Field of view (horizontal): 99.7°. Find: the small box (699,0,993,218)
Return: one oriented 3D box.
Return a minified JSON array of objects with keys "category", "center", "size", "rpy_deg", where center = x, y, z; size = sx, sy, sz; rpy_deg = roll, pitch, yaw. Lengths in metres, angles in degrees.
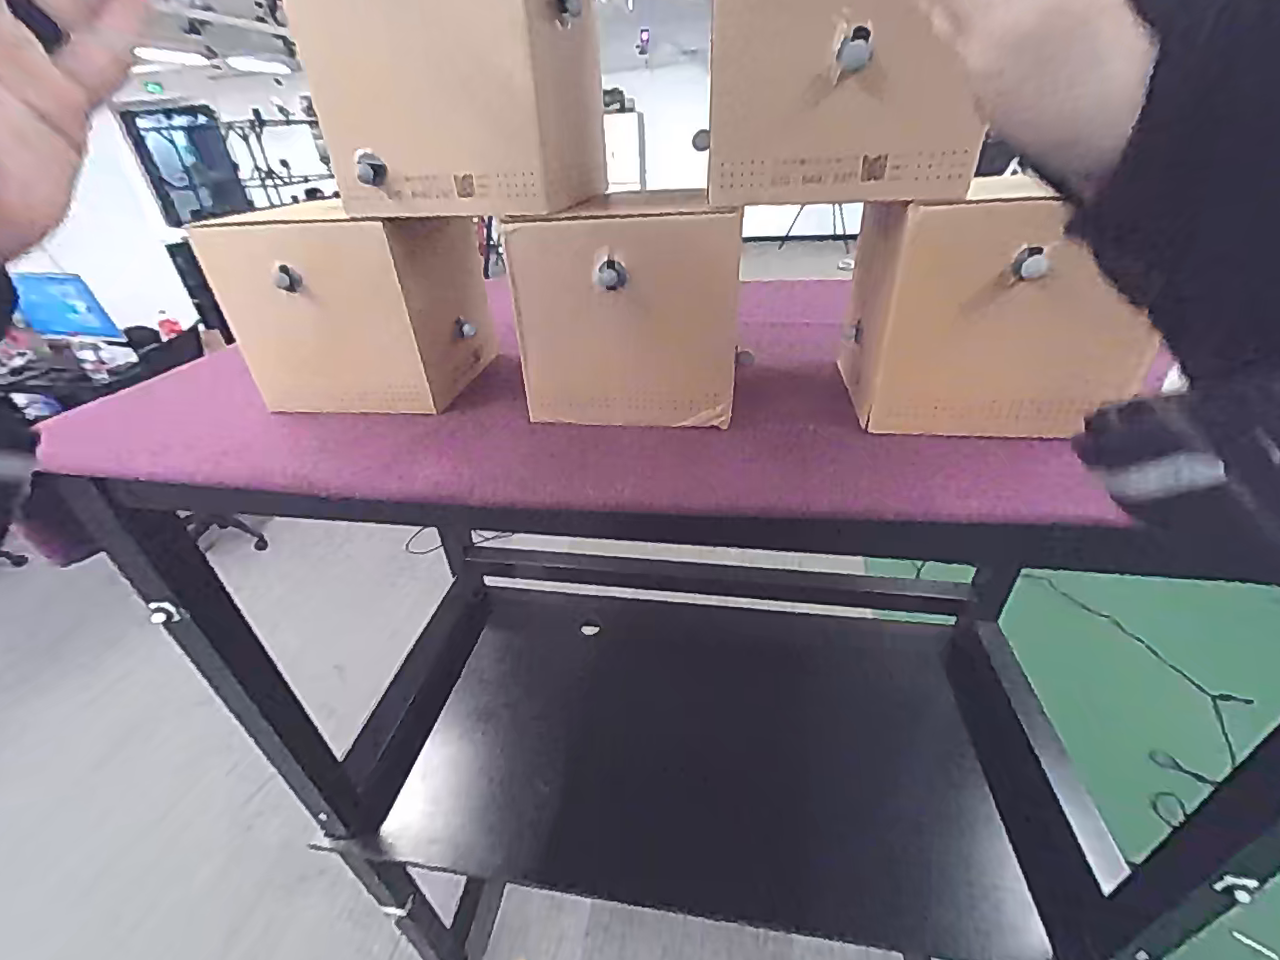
[{"category":"small box","center":[0.130,-0.287,0.384],"size":[0.168,0.176,0.179],"rpy_deg":[2,33,9]}]

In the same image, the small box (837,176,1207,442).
[{"category":"small box","center":[0.270,-0.139,0.441],"size":[0.179,0.176,0.168],"rpy_deg":[1,32,11]}]

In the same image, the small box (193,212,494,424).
[{"category":"small box","center":[-0.267,-0.165,0.537],"size":[0.179,0.176,0.168],"rpy_deg":[1,34,8]}]

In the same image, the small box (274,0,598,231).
[{"category":"small box","center":[-0.135,-0.299,0.430],"size":[0.168,0.176,0.179],"rpy_deg":[4,33,11]}]

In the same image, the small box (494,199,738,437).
[{"category":"small box","center":[-0.005,-0.148,0.485],"size":[0.179,0.176,0.168],"rpy_deg":[3,33,9]}]
